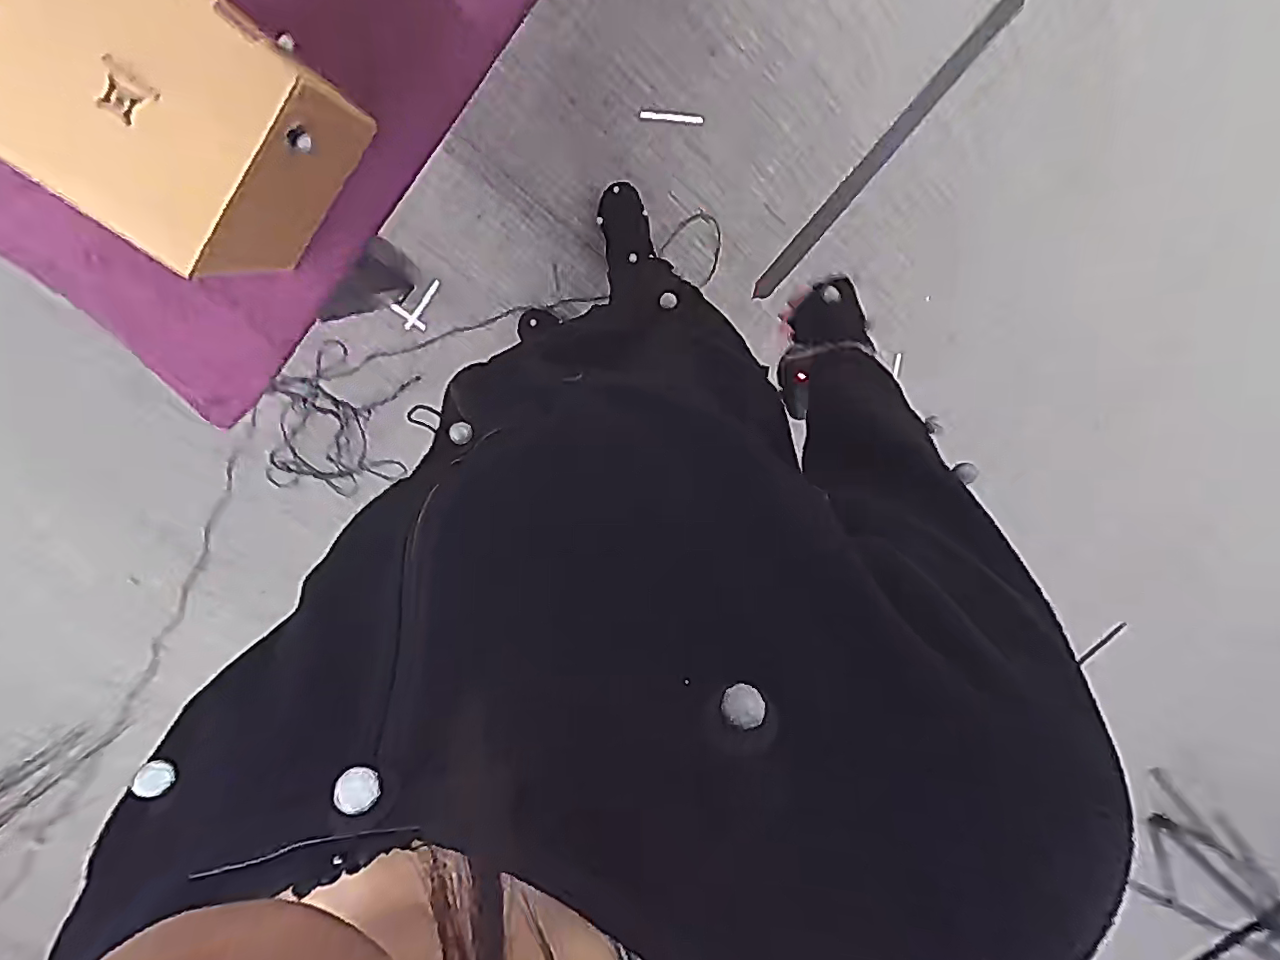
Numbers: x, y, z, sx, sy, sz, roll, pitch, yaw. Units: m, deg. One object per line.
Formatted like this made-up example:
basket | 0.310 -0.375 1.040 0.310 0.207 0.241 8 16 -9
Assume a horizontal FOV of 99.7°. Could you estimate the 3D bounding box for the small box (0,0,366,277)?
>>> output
small box | -0.360 -0.291 0.442 0.168 0.176 0.179 35 103 -19
